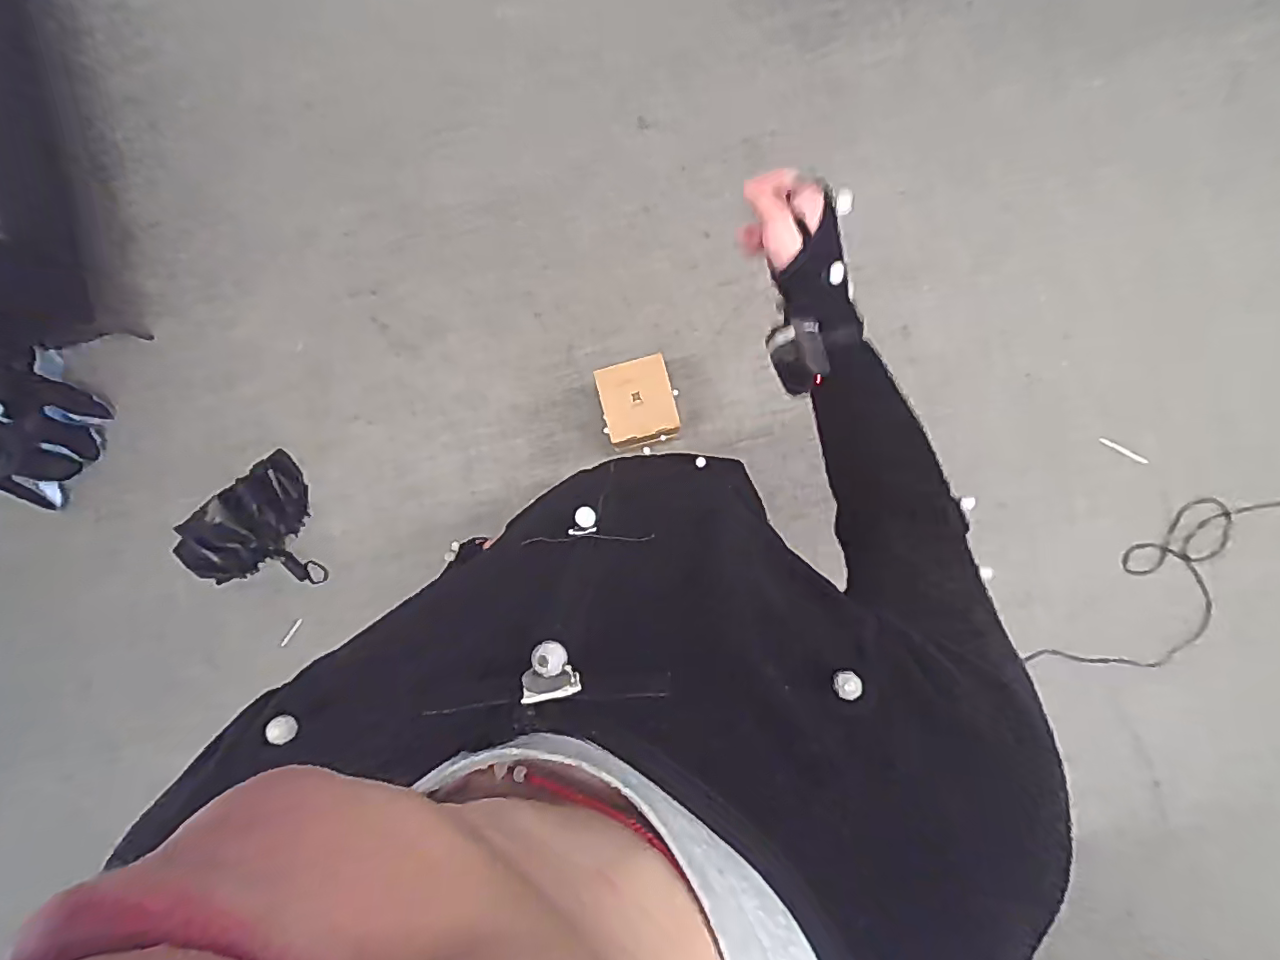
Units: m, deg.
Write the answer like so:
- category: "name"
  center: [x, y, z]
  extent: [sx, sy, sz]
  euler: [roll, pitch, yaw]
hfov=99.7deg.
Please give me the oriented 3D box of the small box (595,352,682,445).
- category: "small box"
  center: [0.001, -0.188, 1.308]
  extent: [0.168, 0.176, 0.179]
  euler: [-16, 88, 2]

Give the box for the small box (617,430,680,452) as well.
- category: "small box"
  center: [0.007, -0.182, 1.470]
  extent: [0.168, 0.176, 0.179]
  euler: [-14, 89, 4]
